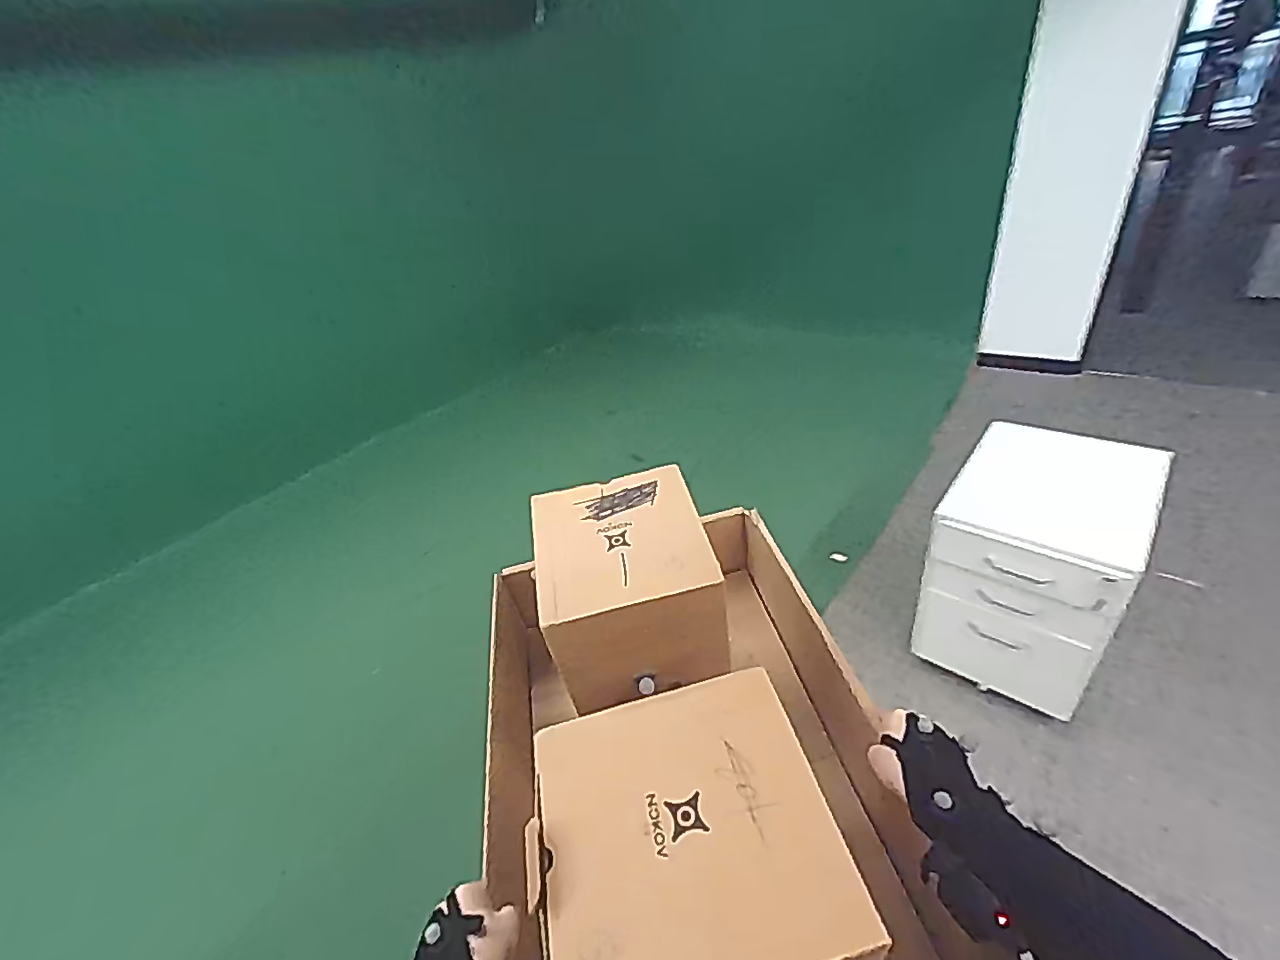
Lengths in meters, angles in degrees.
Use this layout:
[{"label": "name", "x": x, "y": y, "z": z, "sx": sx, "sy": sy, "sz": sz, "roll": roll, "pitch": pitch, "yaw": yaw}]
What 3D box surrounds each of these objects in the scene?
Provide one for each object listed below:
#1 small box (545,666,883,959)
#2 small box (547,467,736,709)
[{"label": "small box", "x": 0.042, "y": 0.269, "z": 0.386, "sx": 0.179, "sy": 0.176, "sz": 0.168, "roll": -13, "pitch": 39, "yaw": -5}, {"label": "small box", "x": 0.000, "y": 0.115, "z": 0.584, "sx": 0.168, "sy": 0.176, "sz": 0.179, "roll": -12, "pitch": 41, "yaw": -3}]
